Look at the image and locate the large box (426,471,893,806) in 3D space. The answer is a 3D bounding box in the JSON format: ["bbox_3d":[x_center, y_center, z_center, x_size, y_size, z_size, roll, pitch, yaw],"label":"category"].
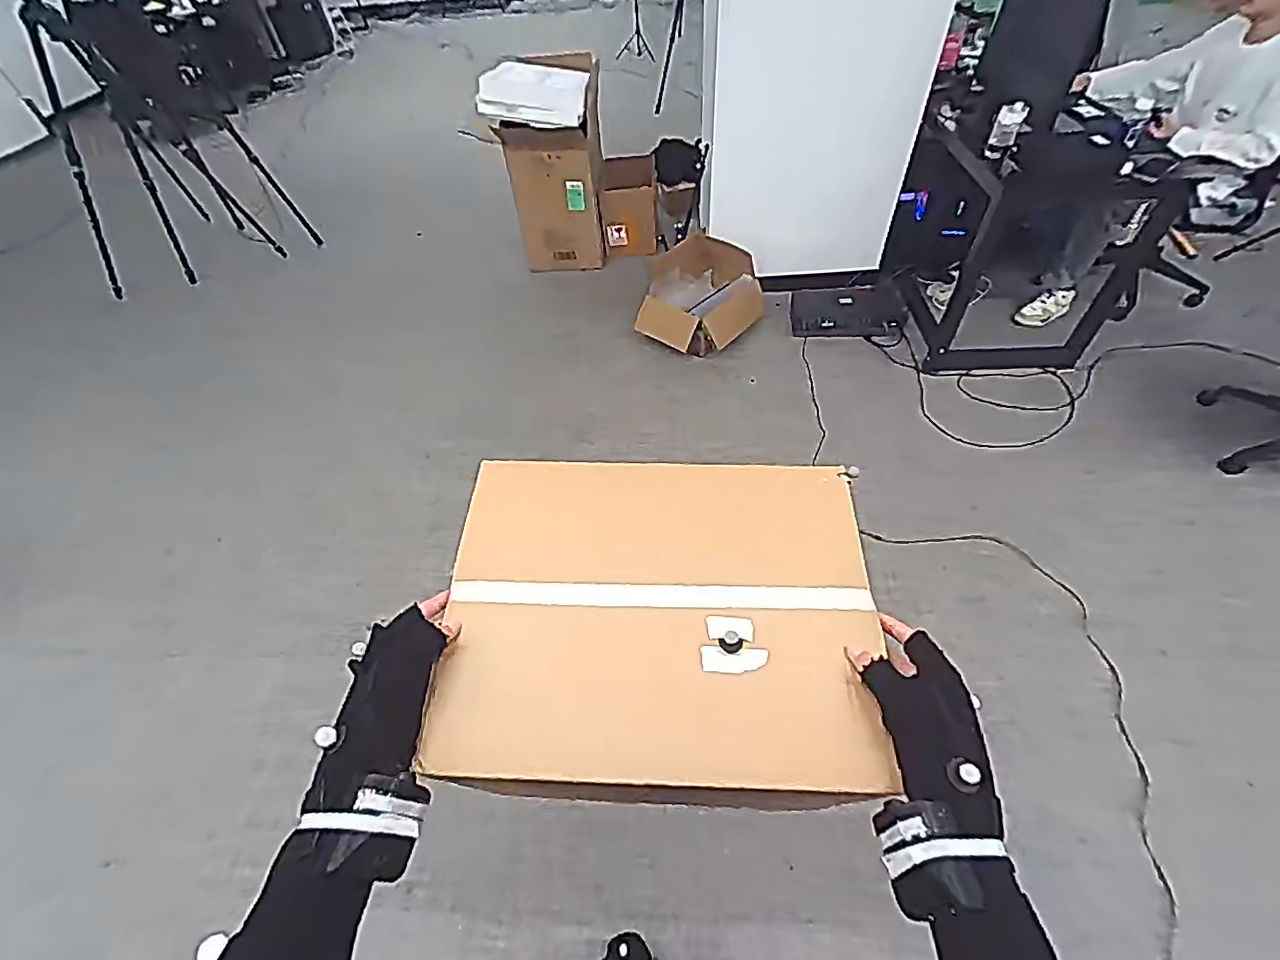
[{"bbox_3d":[0.020,0.203,0.657,0.408,0.320,0.320,1,57,3],"label":"large box"}]
